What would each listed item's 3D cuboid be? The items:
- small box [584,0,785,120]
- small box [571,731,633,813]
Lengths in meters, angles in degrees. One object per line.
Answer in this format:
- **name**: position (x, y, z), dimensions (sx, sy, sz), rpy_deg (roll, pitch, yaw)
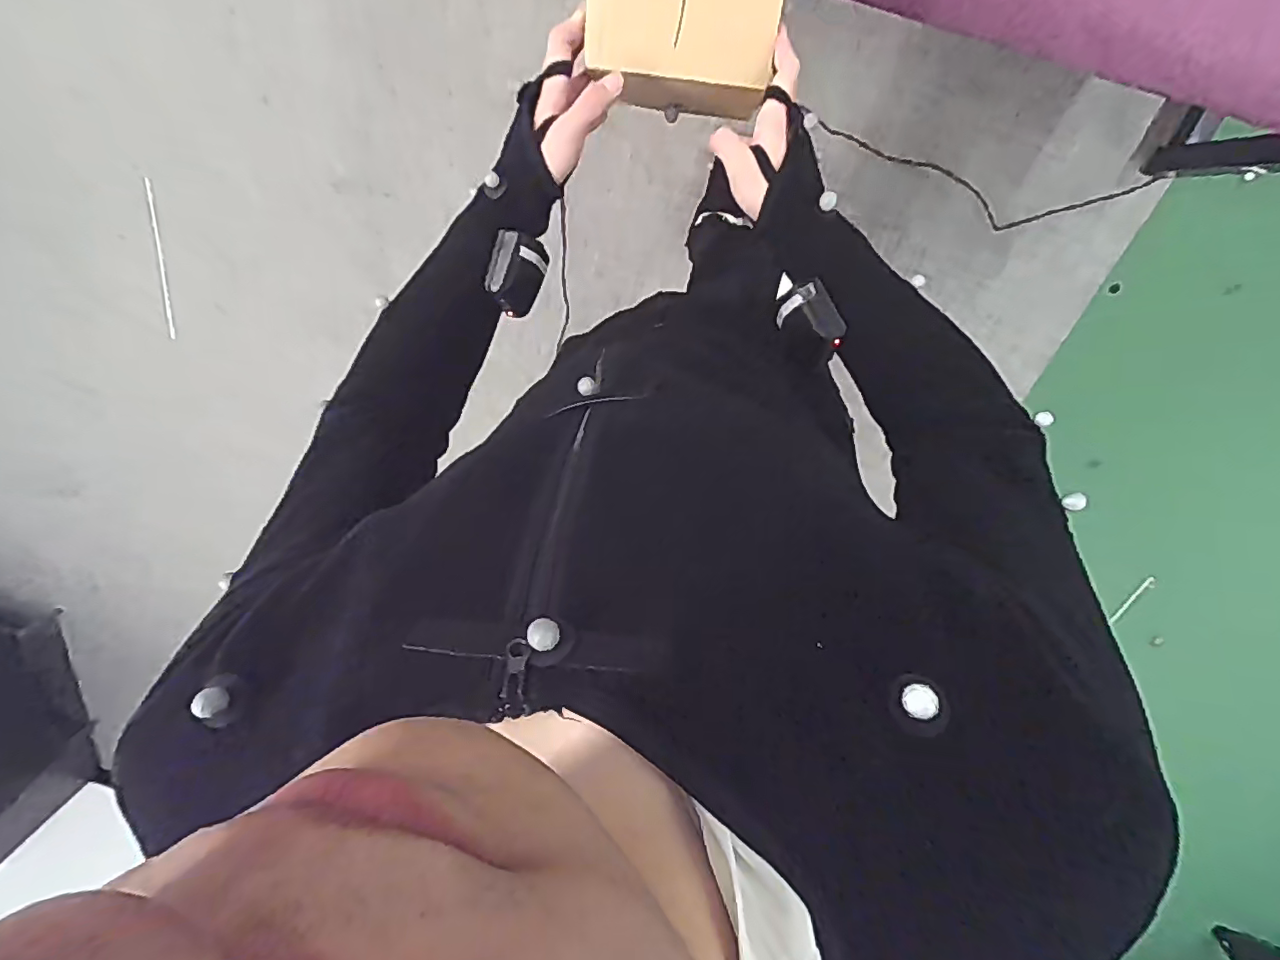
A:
- **small box**: position (0.049, -0.464, 0.508), dimensions (0.168, 0.176, 0.179), rpy_deg (9, 116, 2)
- **small box**: position (-0.133, 1.054, 1.956), dimensions (0.168, 0.176, 0.179), rpy_deg (19, 118, 0)
